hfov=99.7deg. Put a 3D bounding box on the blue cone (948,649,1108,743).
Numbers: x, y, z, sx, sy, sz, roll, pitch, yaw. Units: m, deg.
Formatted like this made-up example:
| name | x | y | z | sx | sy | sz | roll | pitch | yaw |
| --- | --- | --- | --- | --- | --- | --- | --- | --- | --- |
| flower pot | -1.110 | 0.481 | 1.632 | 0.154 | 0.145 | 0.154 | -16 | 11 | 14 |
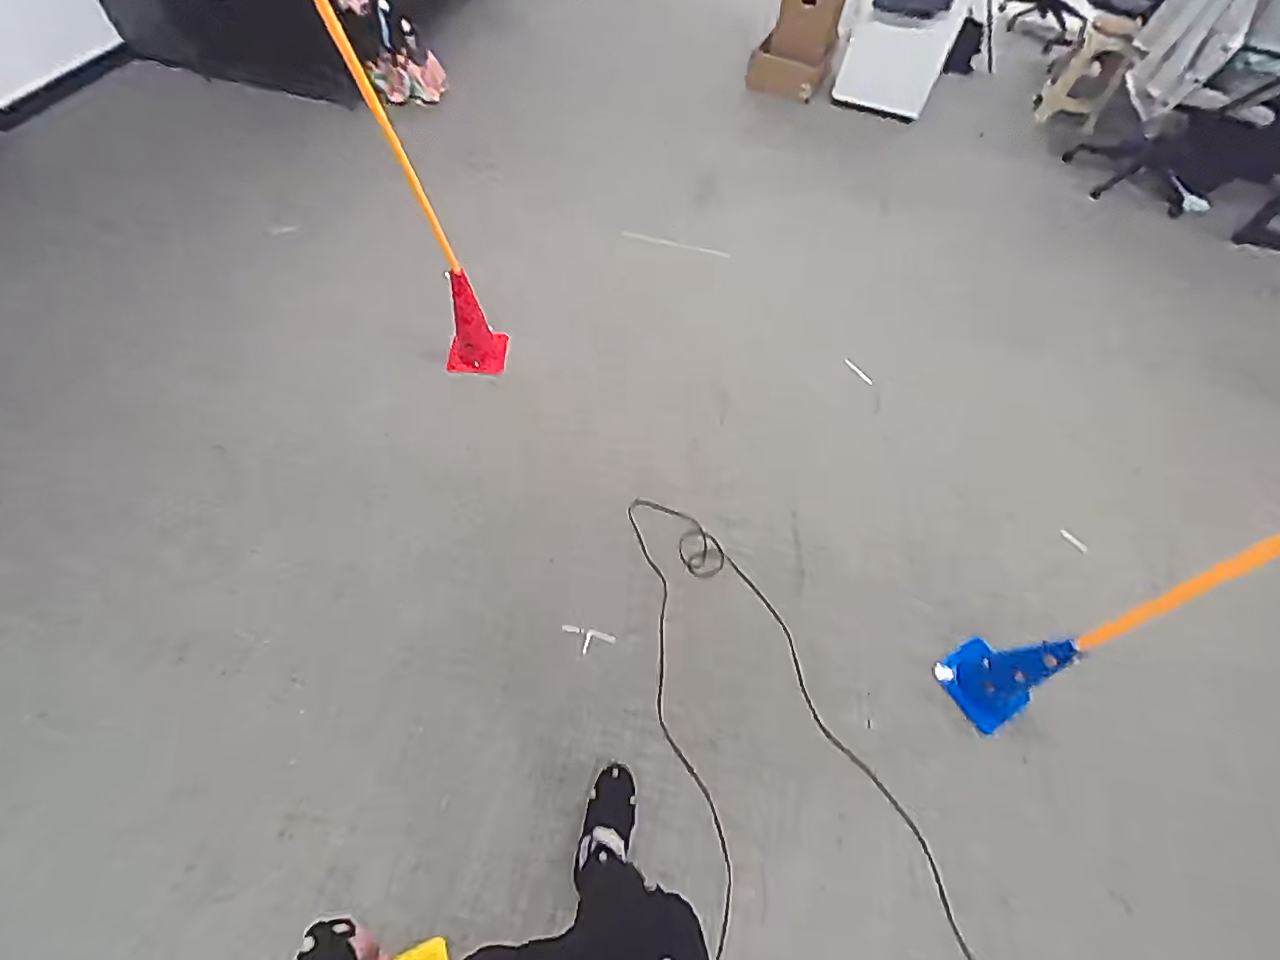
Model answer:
| name | x | y | z | sx | sy | sz | roll | pitch | yaw |
| --- | --- | --- | --- | --- | --- | --- | --- | --- | --- |
| blue cone | 0.941 | 0.469 | 1.288 | 0.193 | 0.380 | 0.192 | -25 | 62 | -21 |
